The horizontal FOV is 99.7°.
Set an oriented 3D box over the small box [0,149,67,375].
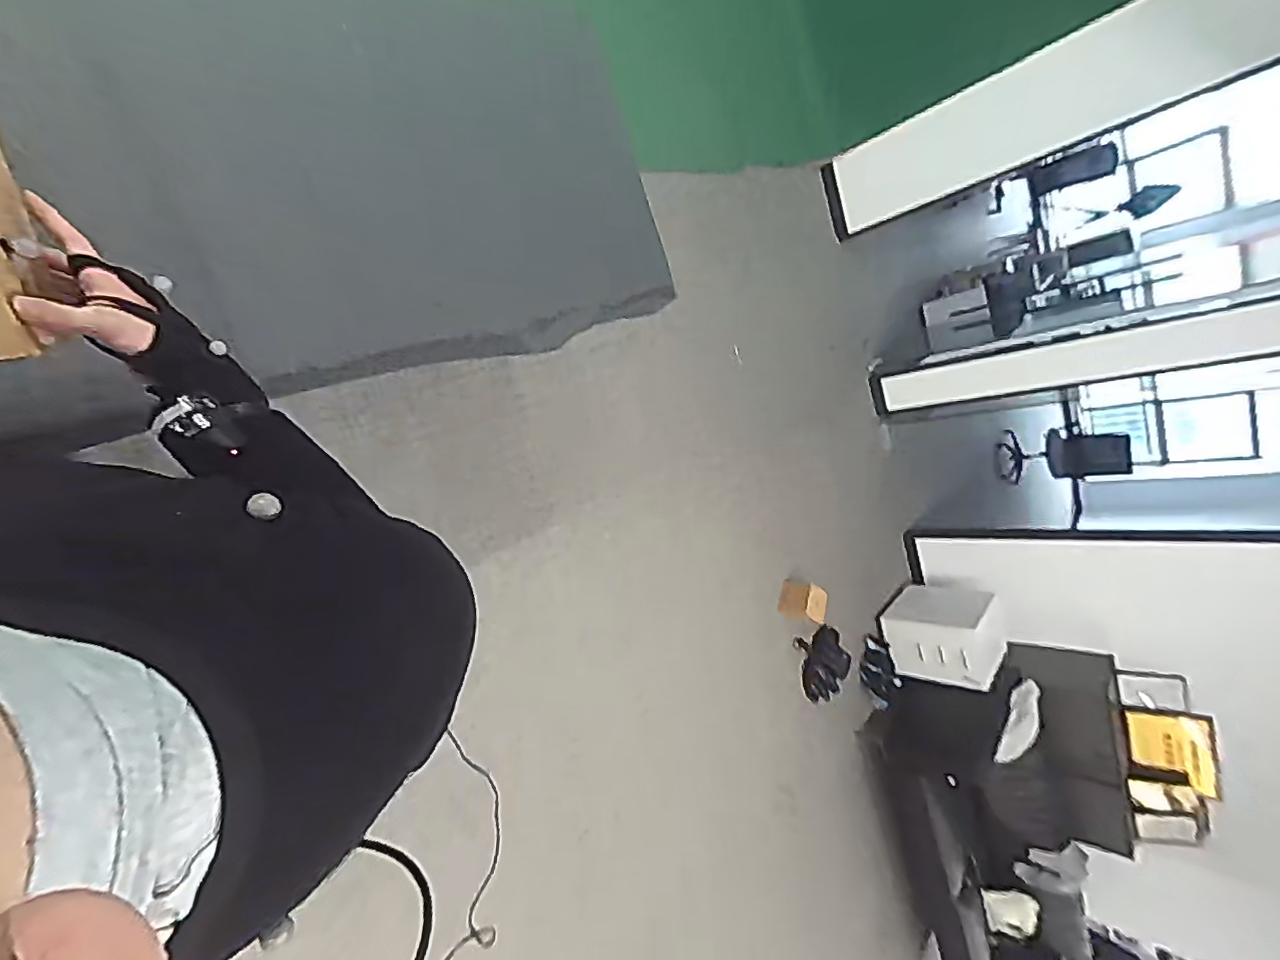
[{"bbox_3d":[-0.518,-0.161,0.345,0.168,0.176,0.179,-17,119,-35],"label":"small box"}]
